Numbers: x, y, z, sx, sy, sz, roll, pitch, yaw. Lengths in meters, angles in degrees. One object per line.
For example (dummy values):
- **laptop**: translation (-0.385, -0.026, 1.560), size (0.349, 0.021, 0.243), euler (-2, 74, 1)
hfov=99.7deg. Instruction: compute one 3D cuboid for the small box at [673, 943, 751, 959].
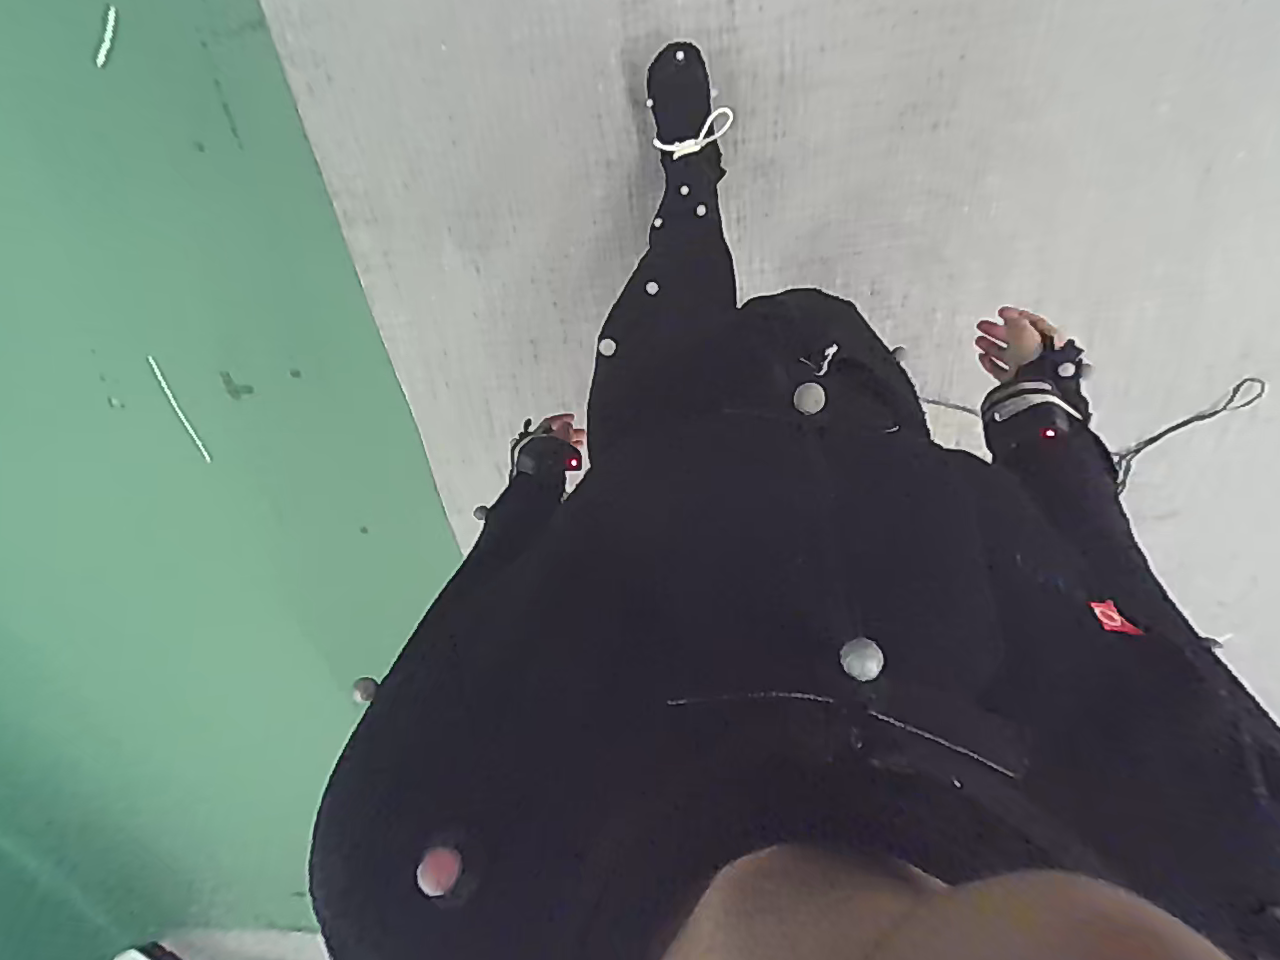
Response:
- **small box**: translation (0.155, 1.162, 1.197), size (0.179, 0.176, 0.168), euler (3, 122, 3)
